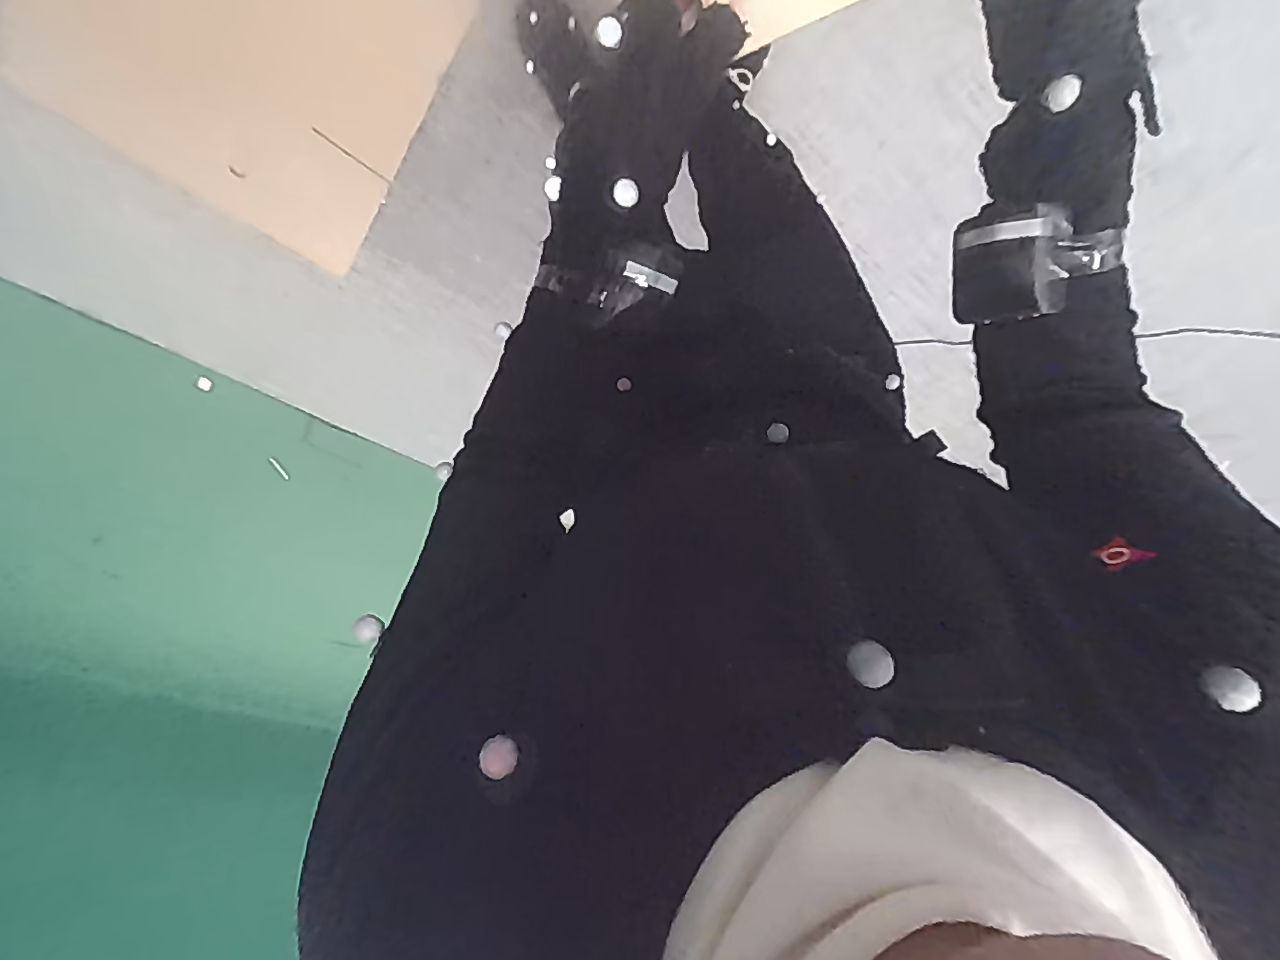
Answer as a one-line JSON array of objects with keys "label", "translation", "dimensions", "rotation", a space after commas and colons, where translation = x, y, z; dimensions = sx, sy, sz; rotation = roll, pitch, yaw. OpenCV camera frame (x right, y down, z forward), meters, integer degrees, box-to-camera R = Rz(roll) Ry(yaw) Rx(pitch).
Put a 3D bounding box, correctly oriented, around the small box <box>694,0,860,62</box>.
[{"label": "small box", "translation": [0.091, -0.393, 0.309], "dimensions": [0.168, 0.176, 0.179], "rotation": [-15, 138, 16]}]
